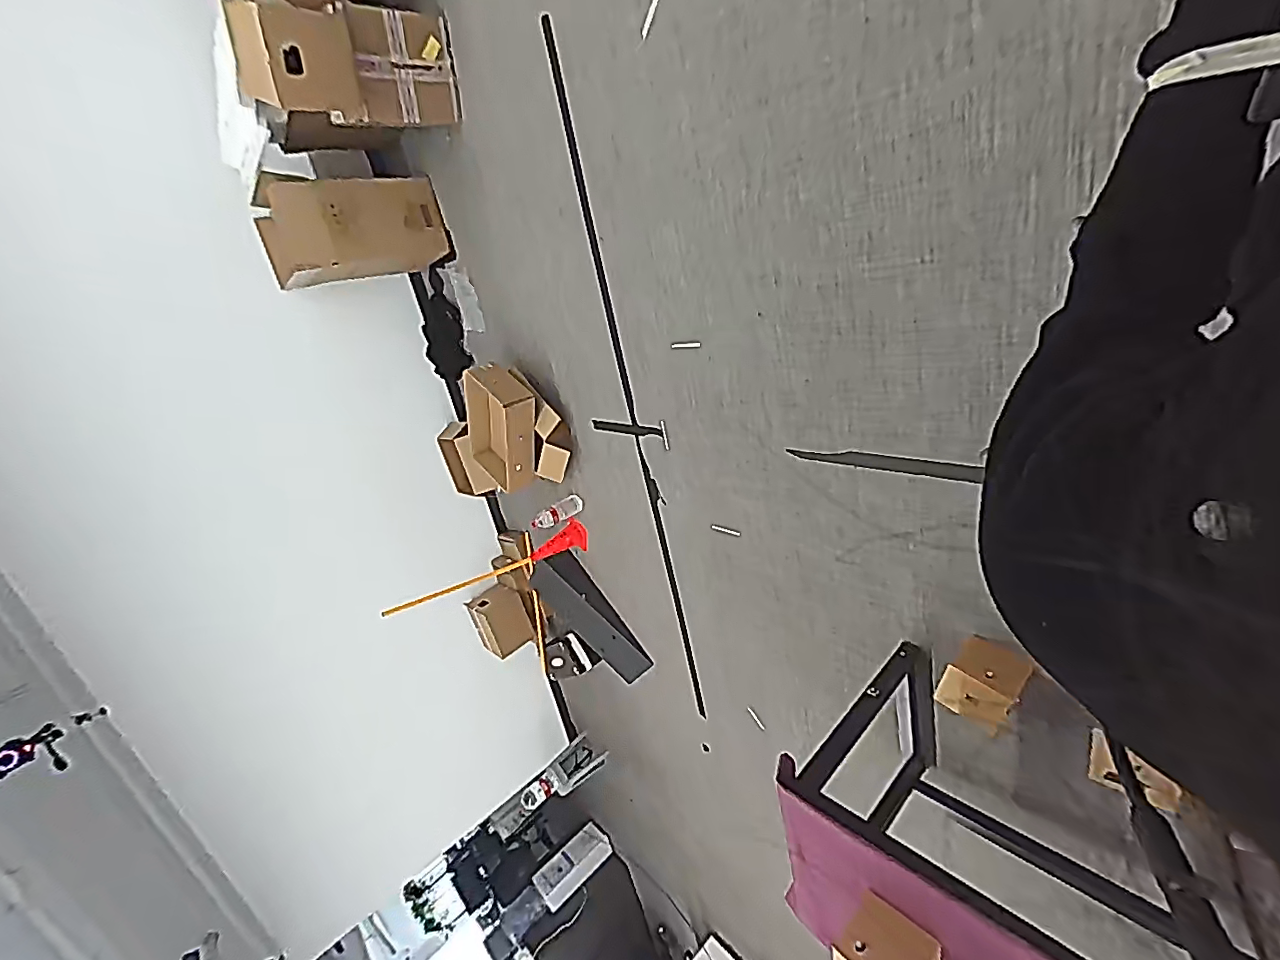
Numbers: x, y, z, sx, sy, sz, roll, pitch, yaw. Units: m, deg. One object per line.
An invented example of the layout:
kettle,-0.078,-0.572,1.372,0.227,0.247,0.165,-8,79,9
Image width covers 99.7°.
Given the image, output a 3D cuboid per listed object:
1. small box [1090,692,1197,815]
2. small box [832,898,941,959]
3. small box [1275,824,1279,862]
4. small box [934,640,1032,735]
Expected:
small box,1.254,0.671,1.346,0.168,0.176,0.179,11,121,48
small box,0.568,1.123,1.250,0.179,0.176,0.168,14,125,47
small box,1.462,0.723,1.113,0.168,0.176,0.179,15,125,47
small box,1.020,0.605,1.608,0.179,0.176,0.168,29,133,37
